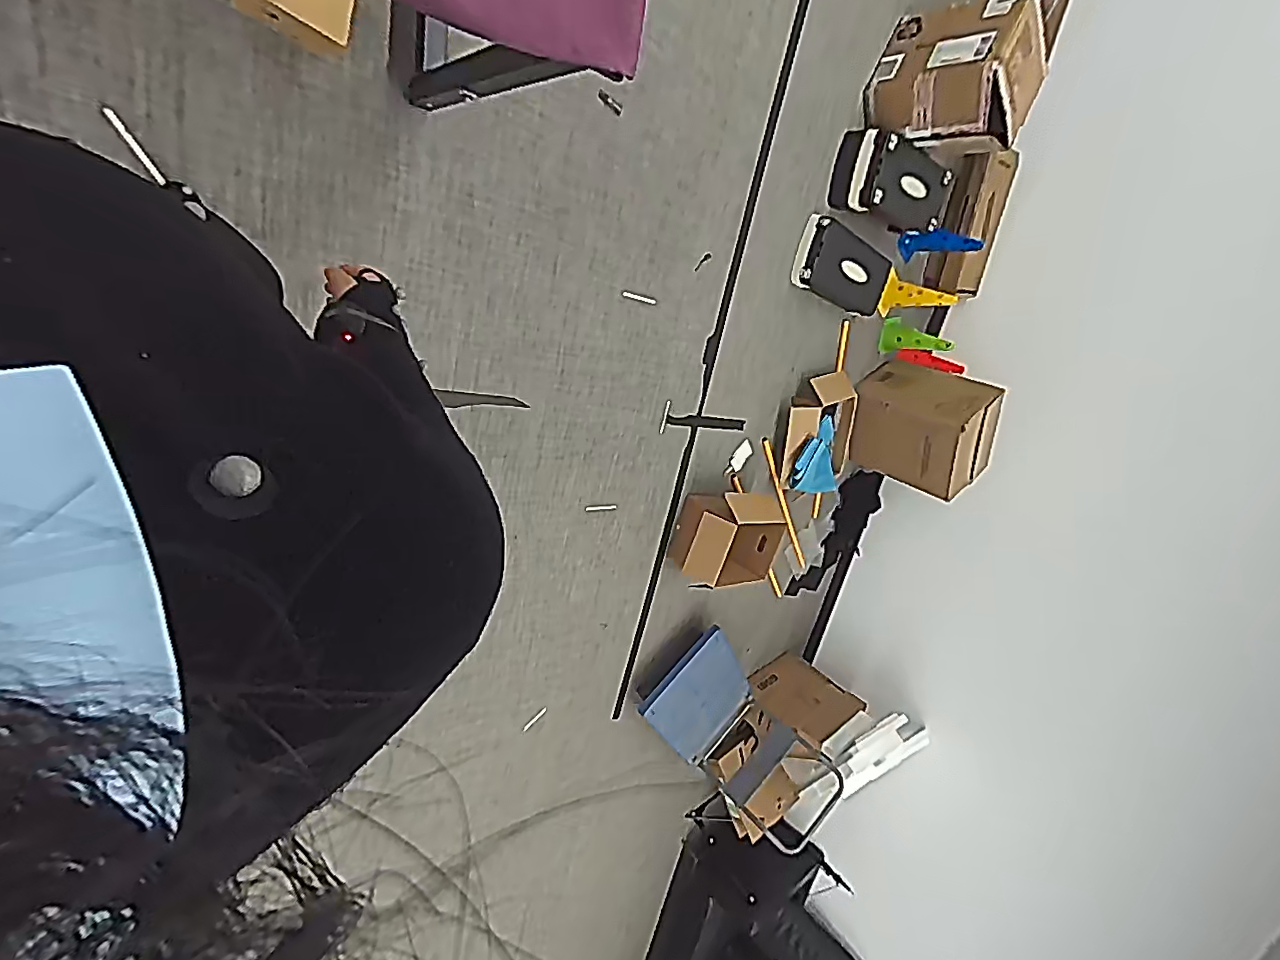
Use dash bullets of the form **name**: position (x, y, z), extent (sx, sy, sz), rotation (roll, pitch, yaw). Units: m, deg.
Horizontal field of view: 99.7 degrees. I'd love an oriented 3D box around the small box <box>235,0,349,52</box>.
- **small box**: position (-0.637, -0.933, 0.990), extent (0.168, 0.176, 0.179), rotation (8, 106, -45)
